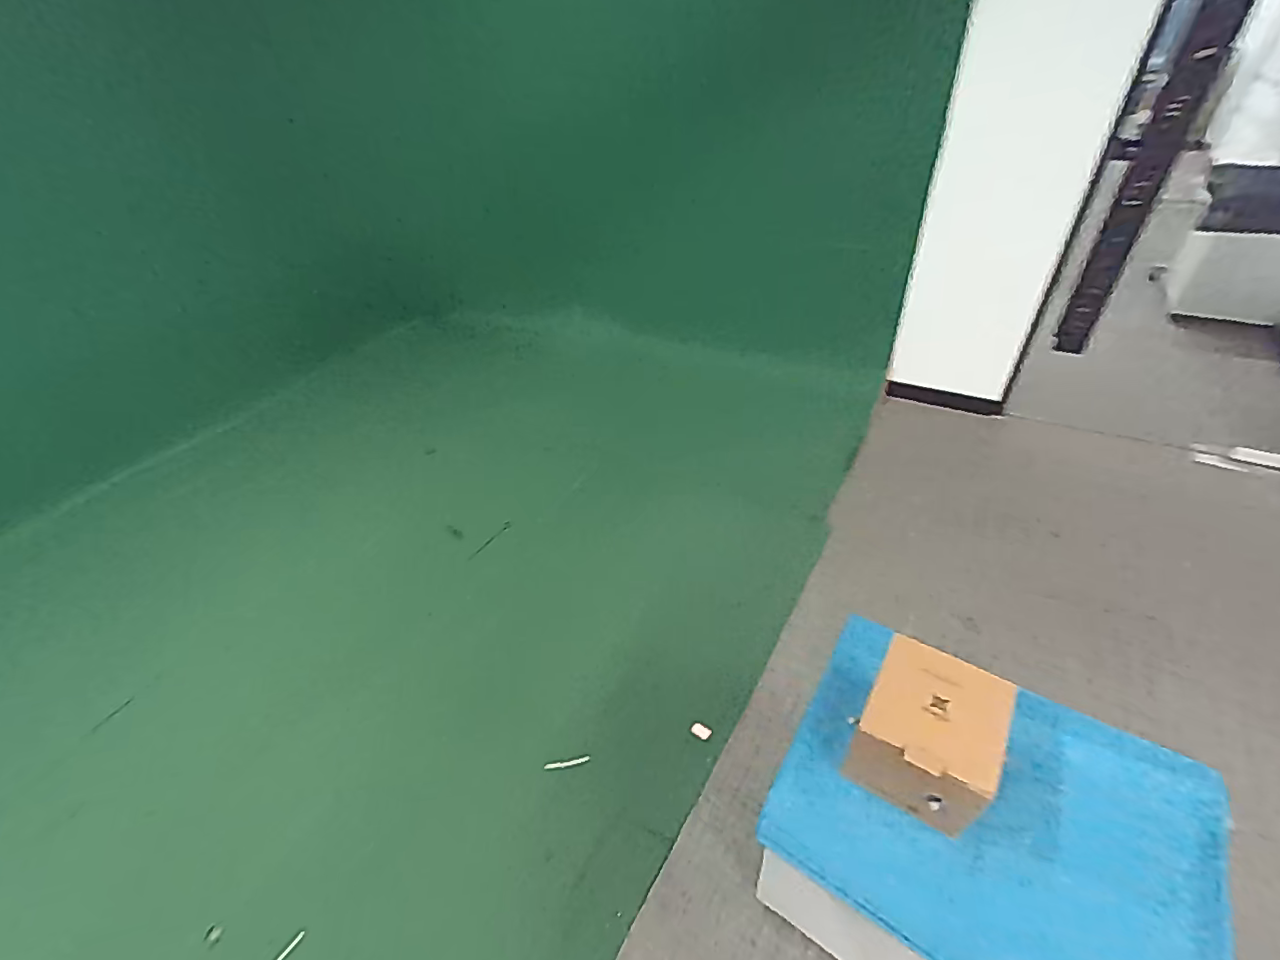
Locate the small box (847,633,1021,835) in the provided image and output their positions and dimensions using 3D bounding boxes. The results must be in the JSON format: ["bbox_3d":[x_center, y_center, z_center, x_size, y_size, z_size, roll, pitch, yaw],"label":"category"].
[{"bbox_3d":[0.415,0.367,0.783,0.168,0.176,0.179,23,49,28],"label":"small box"}]
